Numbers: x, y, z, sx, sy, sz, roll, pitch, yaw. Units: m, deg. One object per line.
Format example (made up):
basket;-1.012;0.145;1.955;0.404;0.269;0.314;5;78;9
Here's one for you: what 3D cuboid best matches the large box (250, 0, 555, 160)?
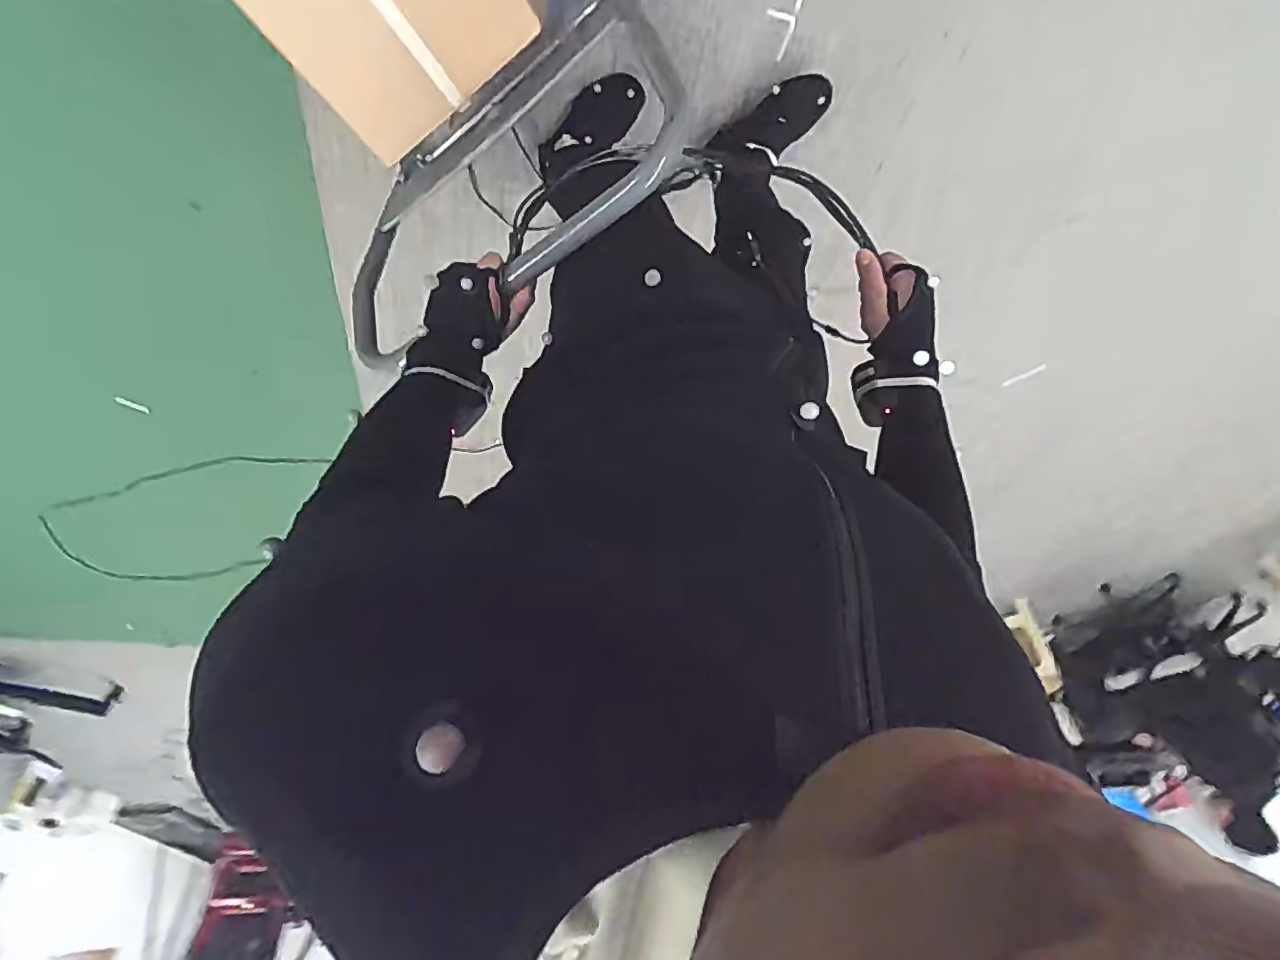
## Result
large box;-0.369;-0.775;0.769;0.320;0.320;0.408;-25;134;20
